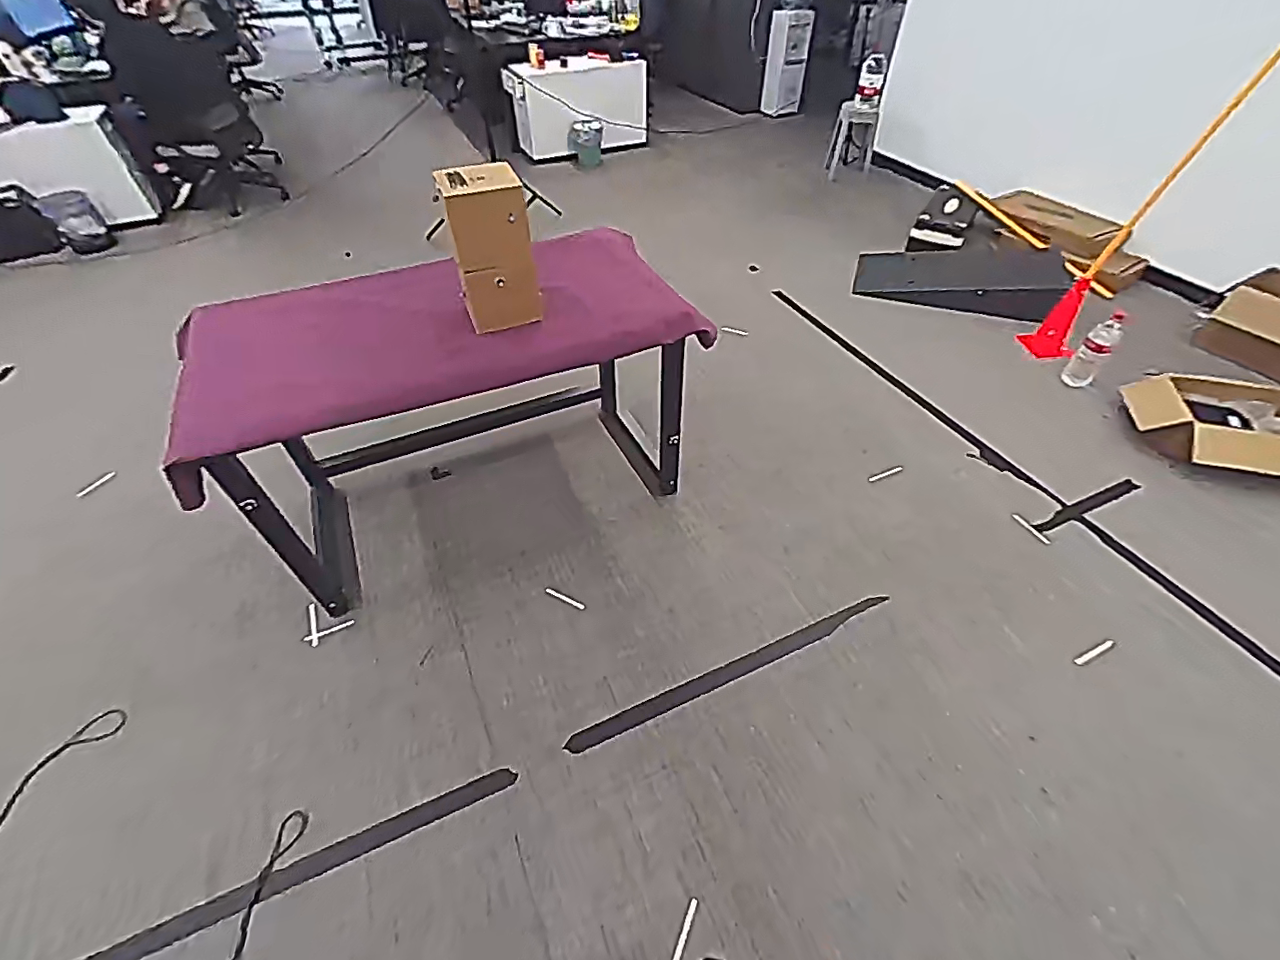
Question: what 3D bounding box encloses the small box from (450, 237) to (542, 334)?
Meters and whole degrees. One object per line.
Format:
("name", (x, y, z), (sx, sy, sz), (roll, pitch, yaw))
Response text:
("small box", (-0.365, -0.495, 1.384), (0.179, 0.176, 0.168), (-18, 50, -16))
